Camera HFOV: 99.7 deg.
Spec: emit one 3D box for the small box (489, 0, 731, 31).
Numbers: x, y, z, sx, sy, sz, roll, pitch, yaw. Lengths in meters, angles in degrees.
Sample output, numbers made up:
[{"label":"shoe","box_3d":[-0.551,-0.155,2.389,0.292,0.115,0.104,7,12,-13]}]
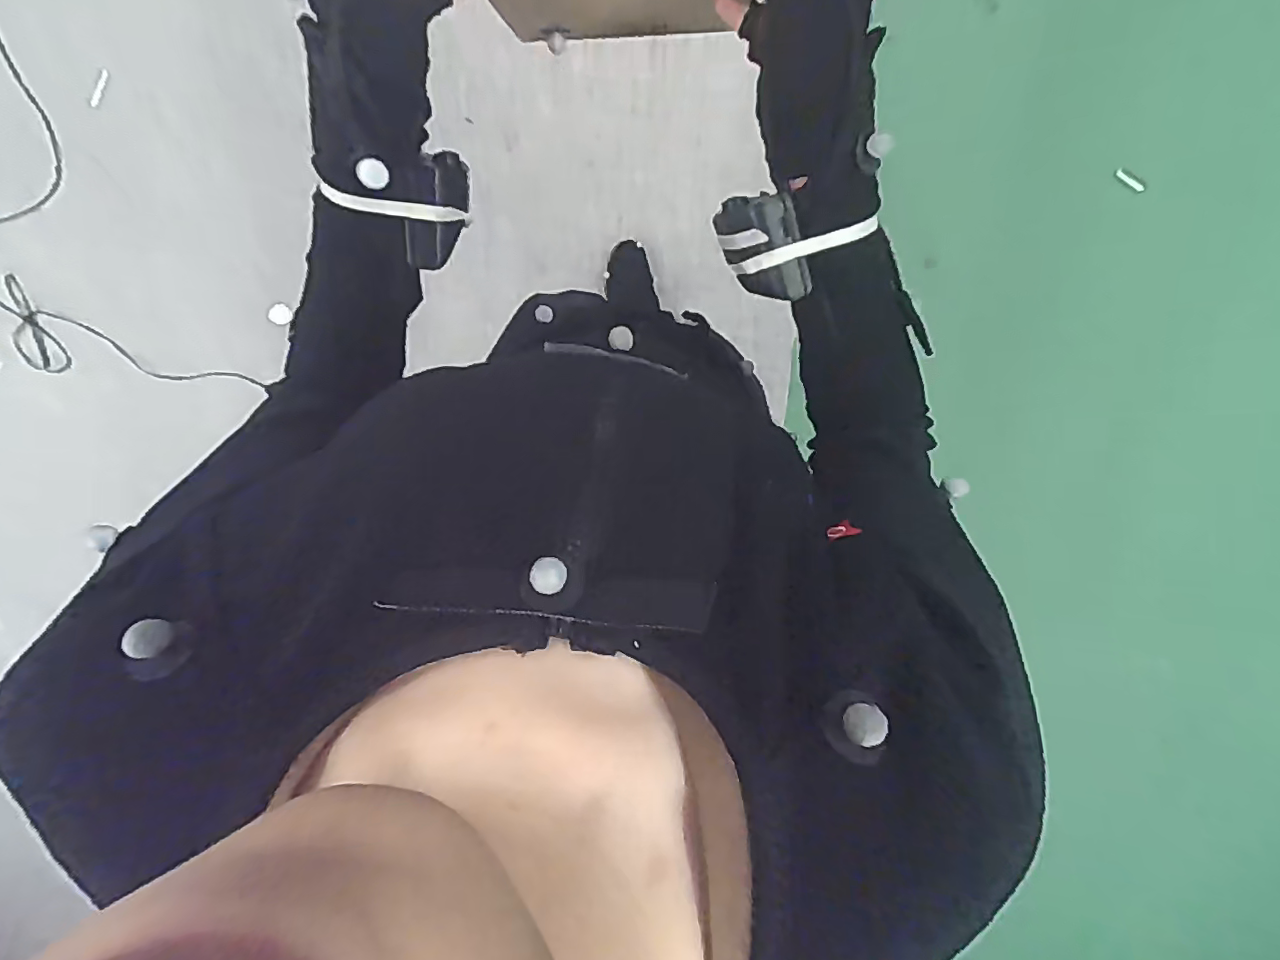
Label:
[{"label":"small box","box_3d":[-0.022,-0.370,0.287,0.168,0.176,0.179,-1,114,3]}]
